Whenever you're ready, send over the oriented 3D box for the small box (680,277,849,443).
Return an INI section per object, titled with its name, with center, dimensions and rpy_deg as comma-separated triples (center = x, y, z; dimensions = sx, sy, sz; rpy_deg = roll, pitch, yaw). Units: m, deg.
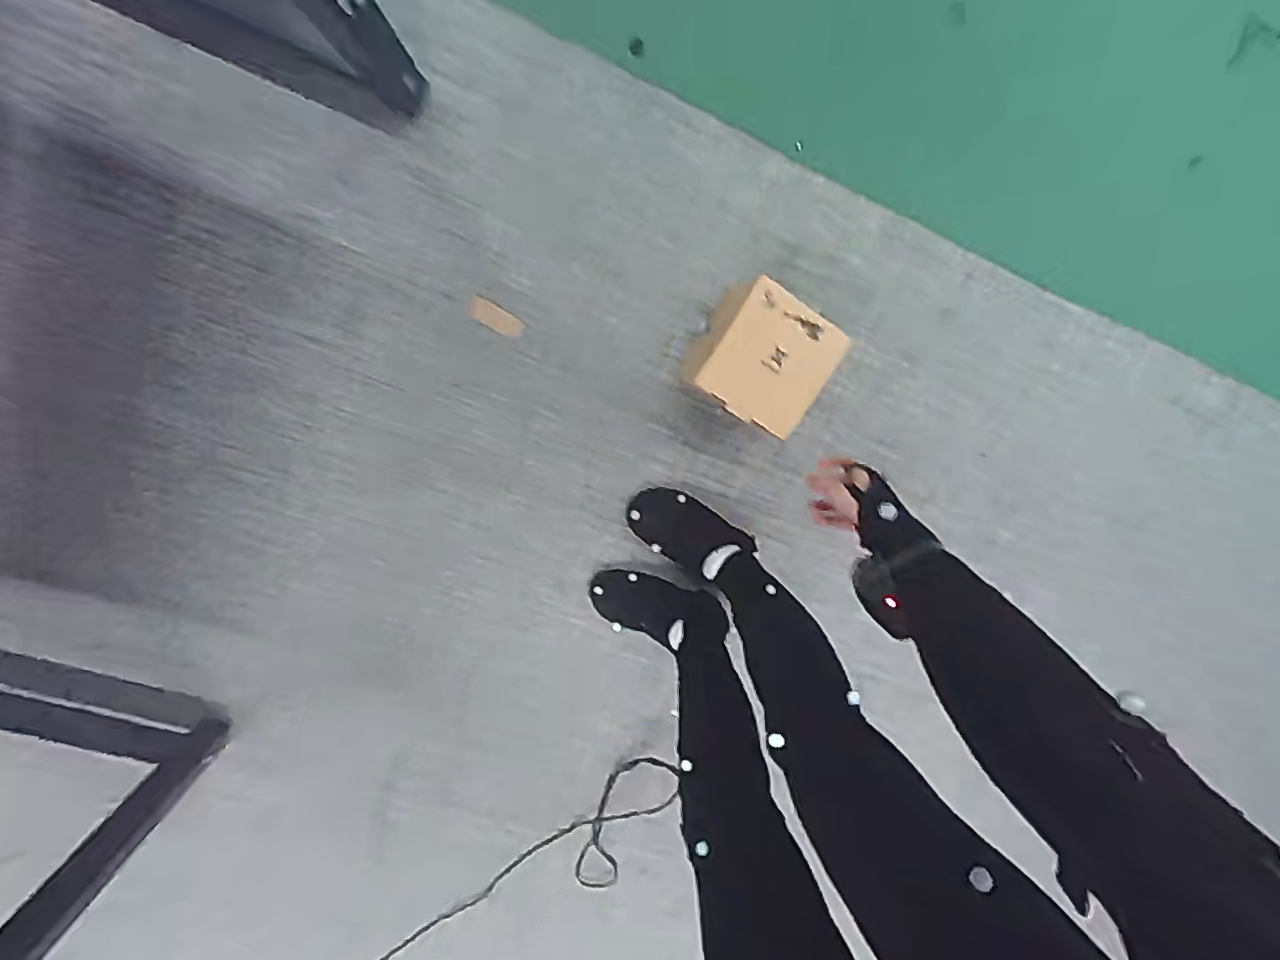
[small box]
center = 0.177, -0.185, 0.839
dimensions = 0.168, 0.176, 0.179
rpy_deg = 31, 100, -14
